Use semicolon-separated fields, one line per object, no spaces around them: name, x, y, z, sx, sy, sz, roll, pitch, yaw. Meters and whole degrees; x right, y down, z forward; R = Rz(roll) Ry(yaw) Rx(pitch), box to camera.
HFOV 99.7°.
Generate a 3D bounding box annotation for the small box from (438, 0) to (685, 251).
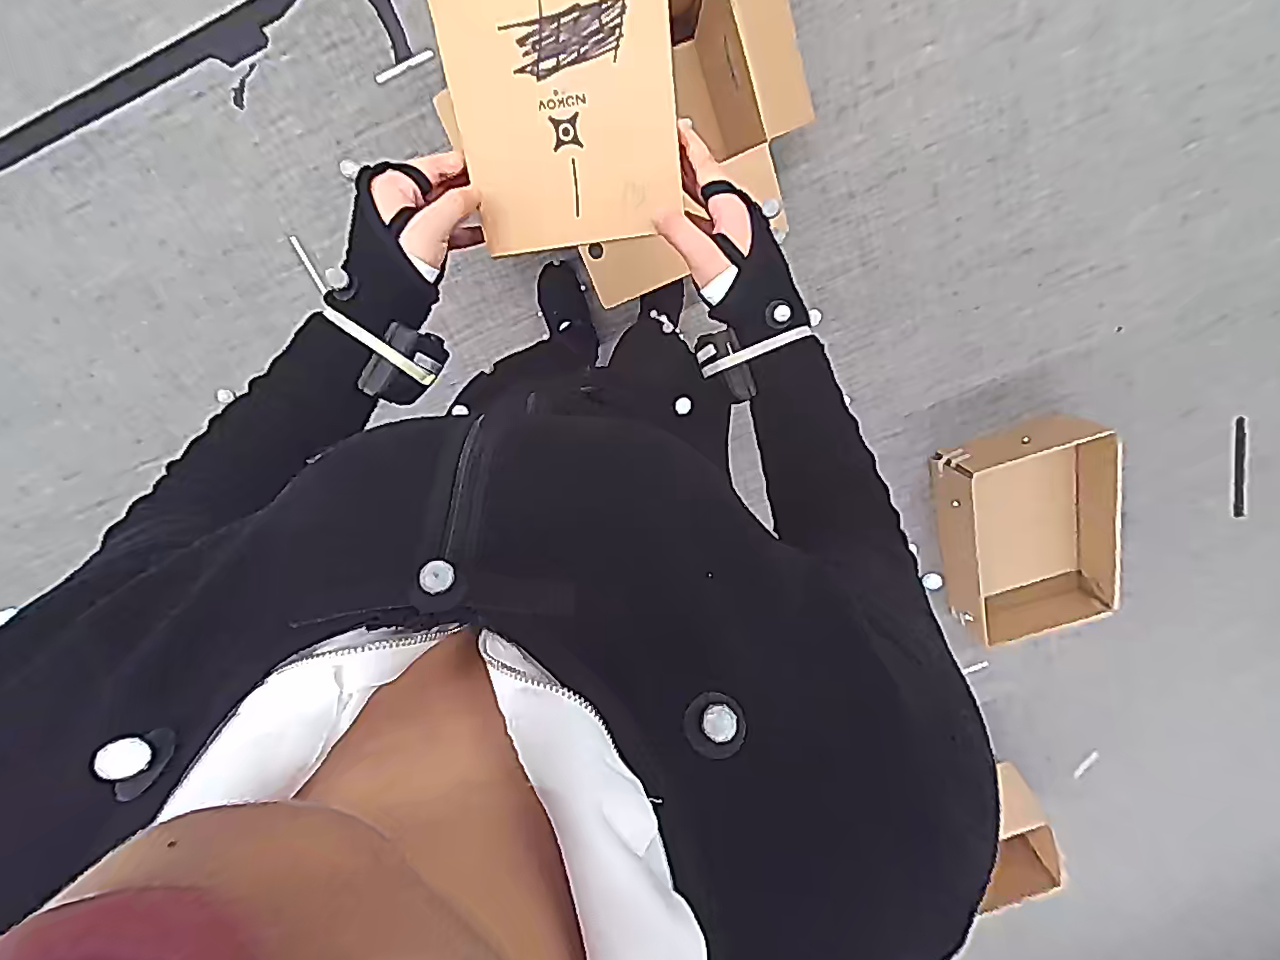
small box;-0.052;-0.310;0.483;0.168;0.176;0.179;-6;116;5
